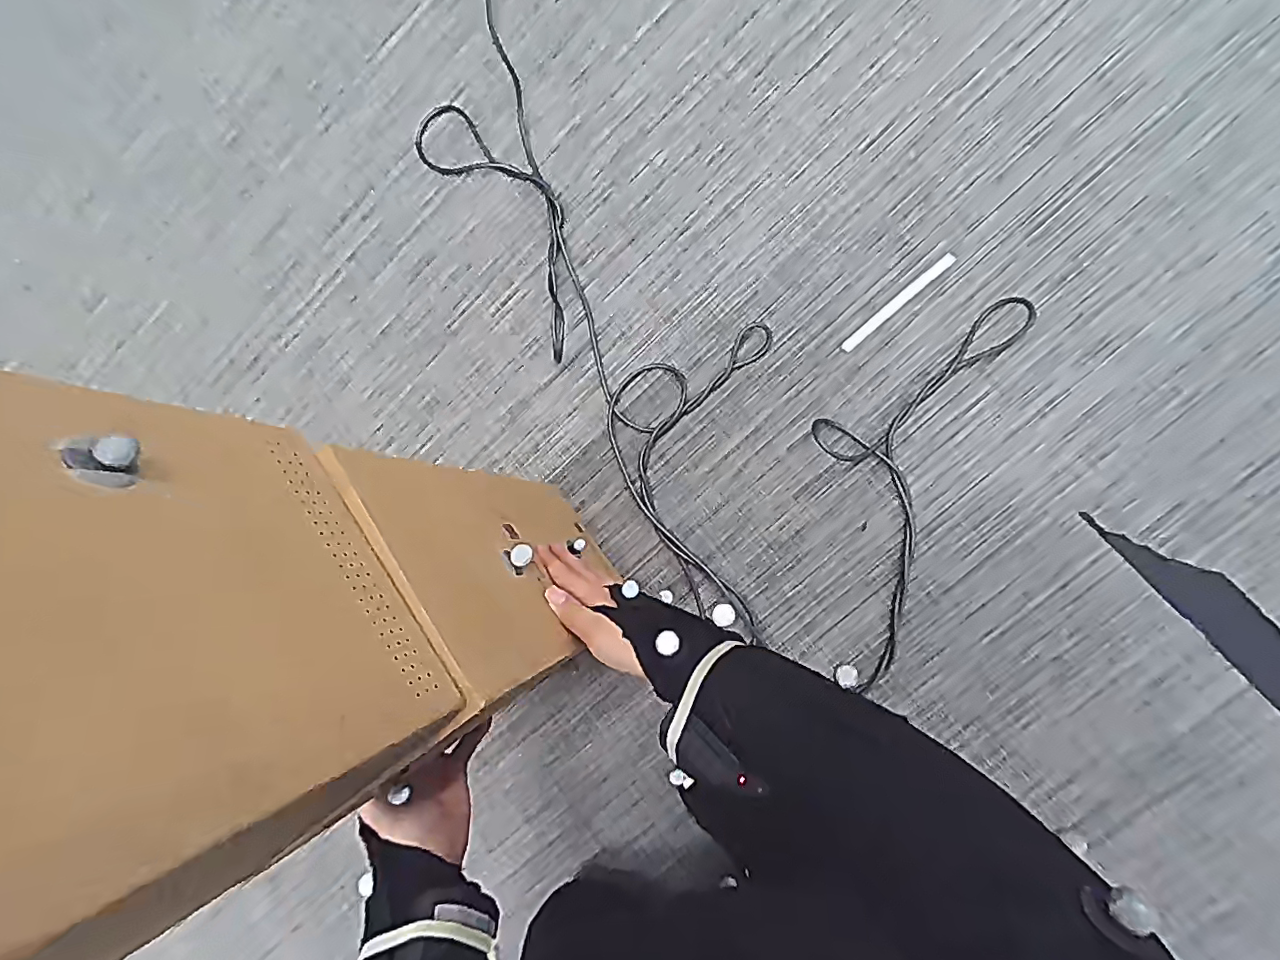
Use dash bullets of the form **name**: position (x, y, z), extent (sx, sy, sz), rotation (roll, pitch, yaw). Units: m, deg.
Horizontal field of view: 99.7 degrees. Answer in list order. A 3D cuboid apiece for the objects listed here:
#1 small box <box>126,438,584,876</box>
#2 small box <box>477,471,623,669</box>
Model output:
- **small box**: position (-0.166, 0.099, 0.362), extent (0.179, 0.176, 0.168), rotation (-37, 78, 7)
- **small box**: position (-0.133, 0.112, 0.522), extent (0.179, 0.176, 0.168), rotation (-38, 77, 8)
